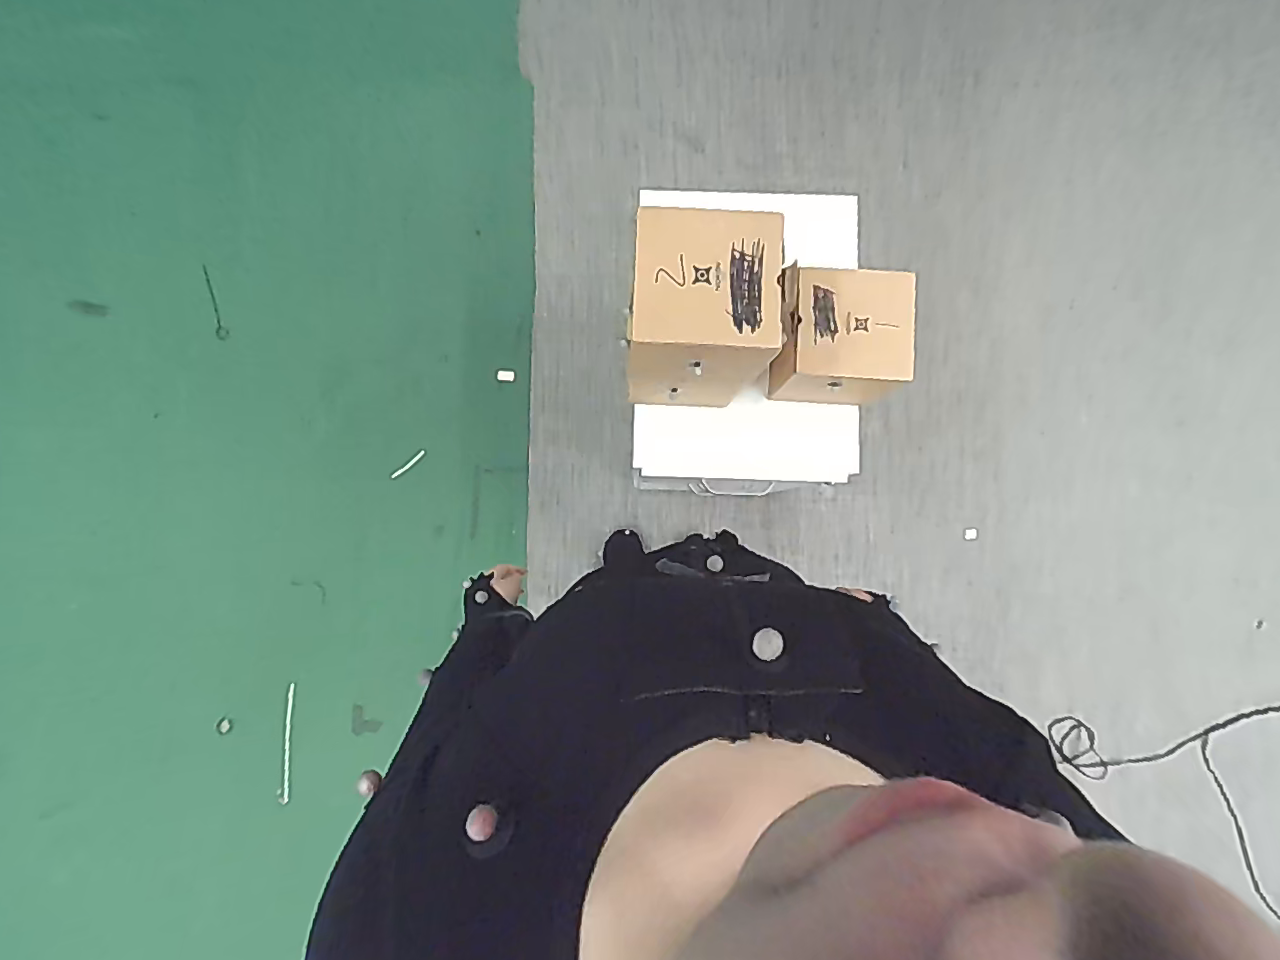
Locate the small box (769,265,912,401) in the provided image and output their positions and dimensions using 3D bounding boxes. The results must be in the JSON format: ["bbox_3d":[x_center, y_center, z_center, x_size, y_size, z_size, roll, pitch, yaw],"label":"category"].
[{"bbox_3d":[0.313,-0.228,0.876,0.179,0.176,0.168,4,86,0],"label":"small box"}]

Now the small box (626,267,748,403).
[{"bbox_3d":[0.068,-0.223,0.872,0.179,0.176,0.168,2,86,-2],"label":"small box"}]
